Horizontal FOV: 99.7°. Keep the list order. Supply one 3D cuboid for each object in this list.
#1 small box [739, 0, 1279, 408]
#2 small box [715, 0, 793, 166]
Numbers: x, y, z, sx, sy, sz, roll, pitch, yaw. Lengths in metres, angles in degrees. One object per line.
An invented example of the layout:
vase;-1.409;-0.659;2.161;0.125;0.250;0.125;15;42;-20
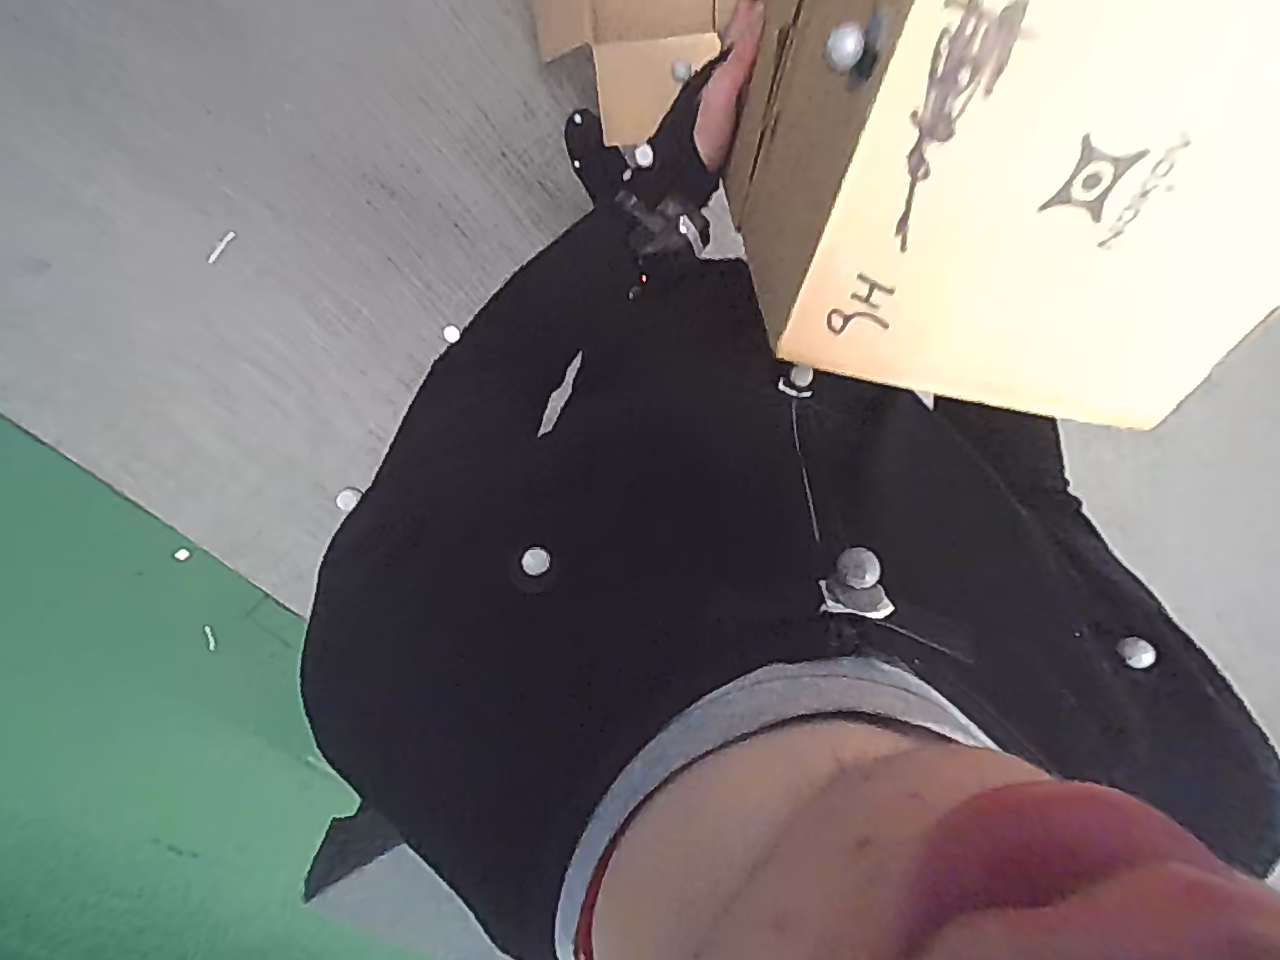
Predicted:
small box;0.154;-0.156;0.224;0.179;0.176;0.168;10;130;-6
small box;0.171;-0.370;0.473;0.179;0.176;0.168;10;130;-2
